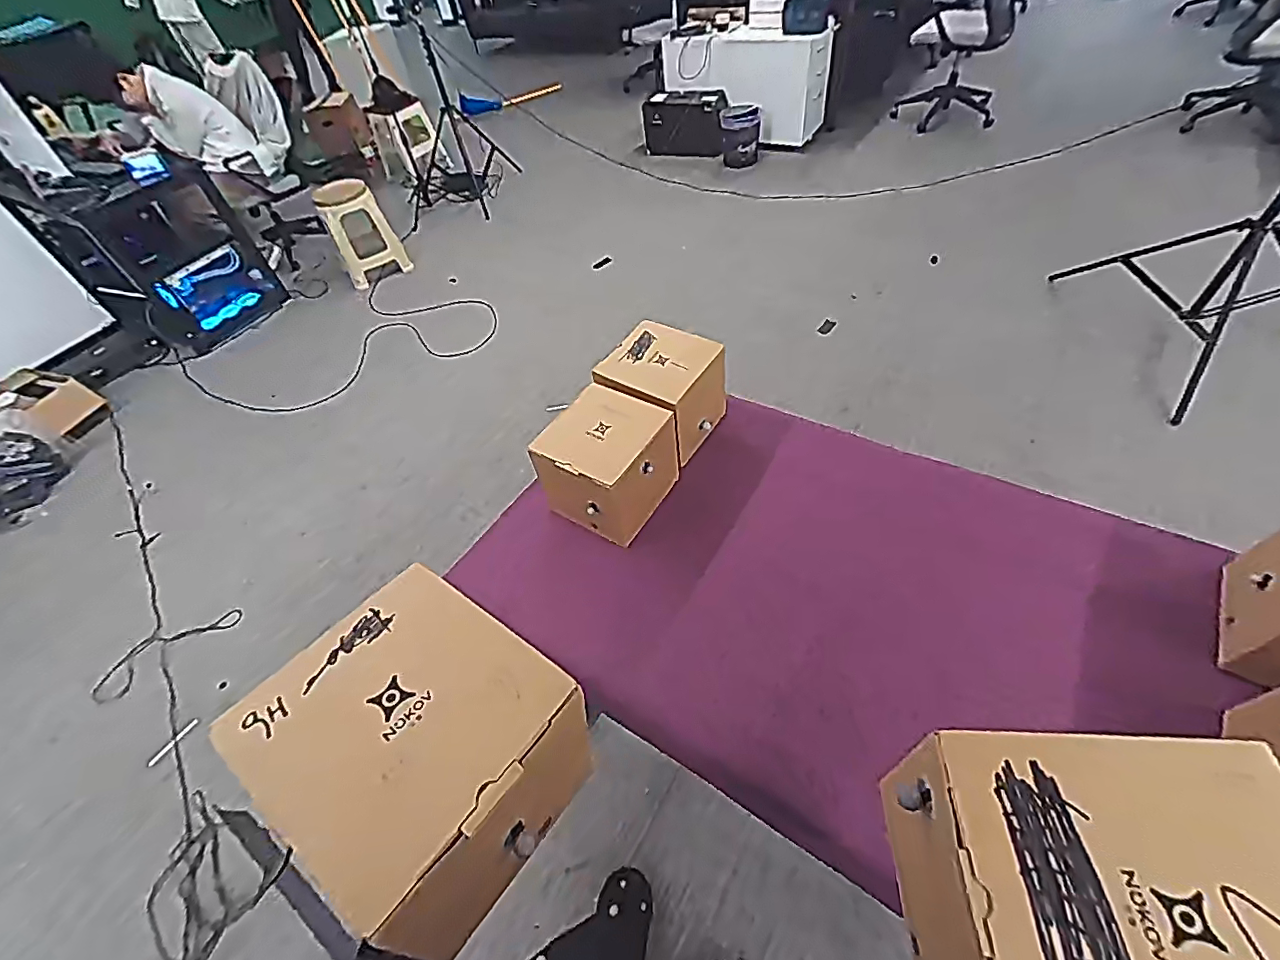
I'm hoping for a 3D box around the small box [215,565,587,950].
[{"bbox_3d":[-0.153,0.205,0.408,0.179,0.176,0.168,28,51,24],"label":"small box"}]

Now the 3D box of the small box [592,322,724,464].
[{"bbox_3d":[0.040,-0.158,1.000,0.179,0.176,0.168,26,61,25],"label":"small box"}]

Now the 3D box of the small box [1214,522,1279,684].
[{"bbox_3d":[0.819,0.153,0.616,0.179,0.176,0.168,24,59,25],"label":"small box"}]
